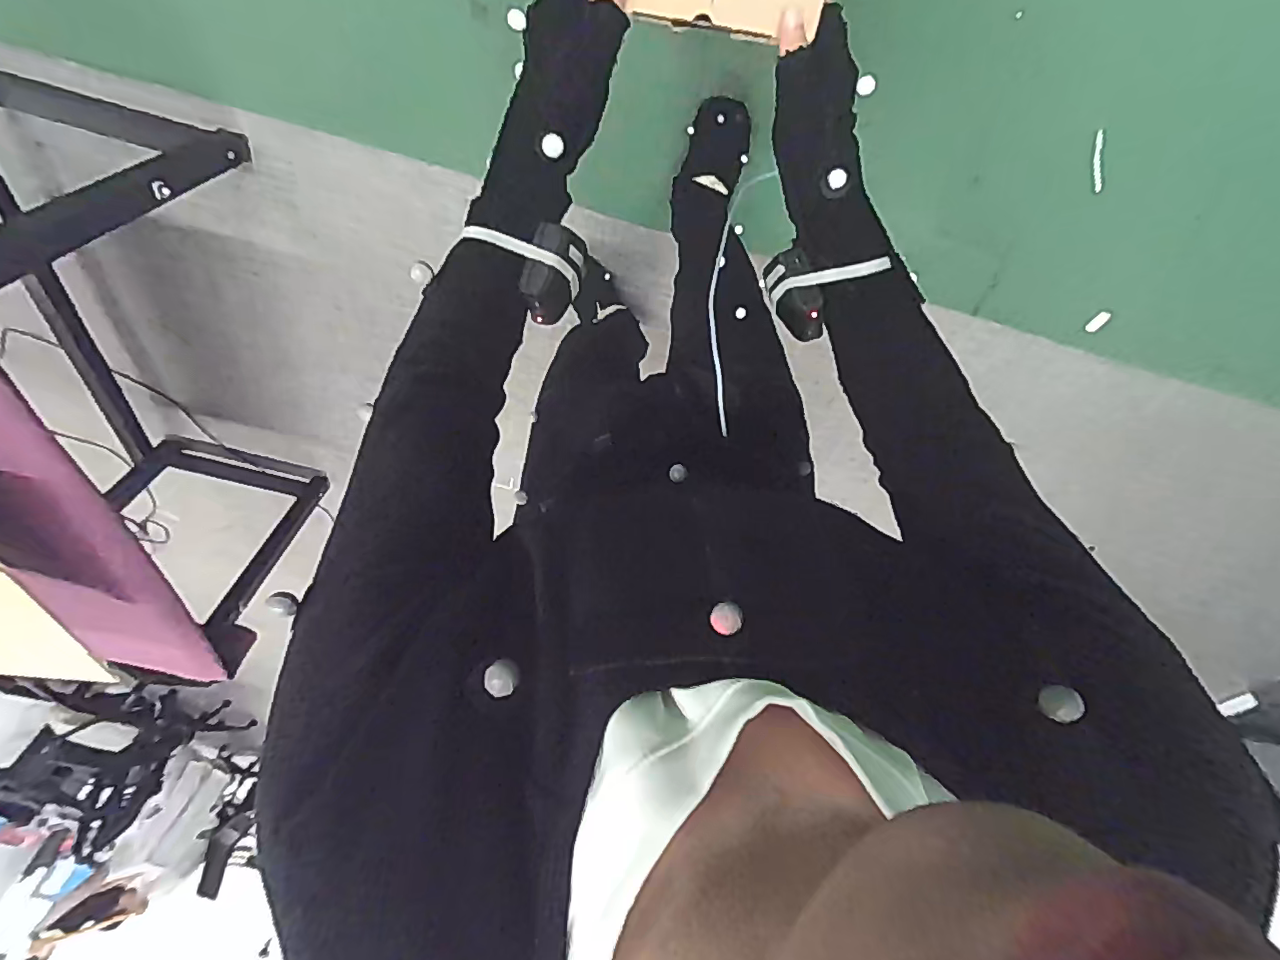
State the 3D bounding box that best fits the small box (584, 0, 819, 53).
[{"bbox_3d":[0.055,-0.437,0.384,0.168,0.176,0.179,6,135,-4],"label":"small box"}]
